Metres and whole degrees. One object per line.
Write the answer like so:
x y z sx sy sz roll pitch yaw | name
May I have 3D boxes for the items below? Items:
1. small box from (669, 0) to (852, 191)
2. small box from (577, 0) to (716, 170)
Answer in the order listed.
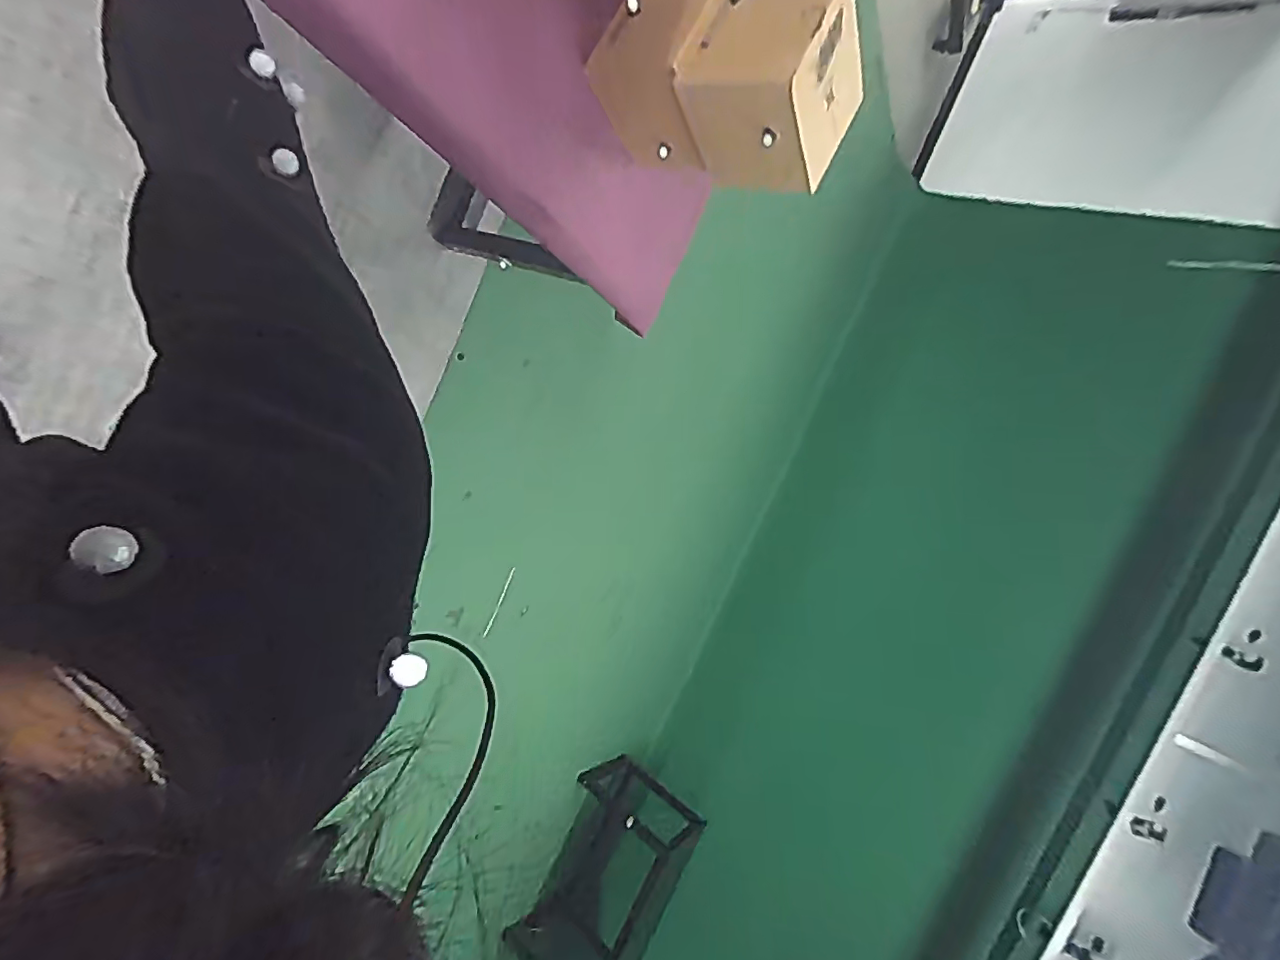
0.164 -0.525 0.729 0.168 0.176 0.179 -62 150 -4 | small box
0.041 -0.603 0.804 0.168 0.176 0.179 -61 149 -5 | small box
